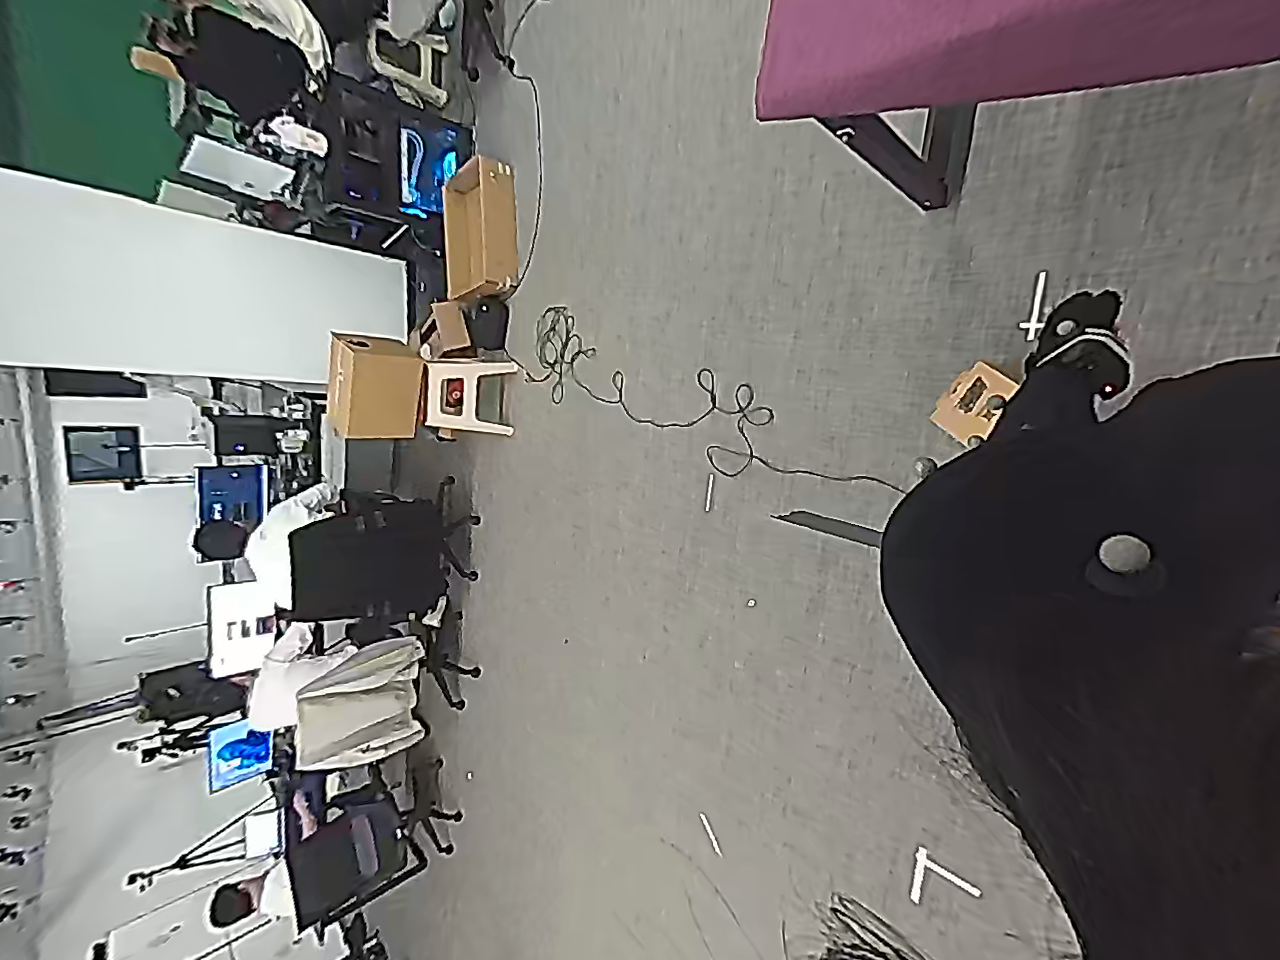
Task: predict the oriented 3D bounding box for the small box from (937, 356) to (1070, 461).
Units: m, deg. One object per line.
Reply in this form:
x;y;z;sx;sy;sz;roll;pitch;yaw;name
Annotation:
0.831;-0.160;1.236;0.179;0.176;0.168;50;126;30;small box
